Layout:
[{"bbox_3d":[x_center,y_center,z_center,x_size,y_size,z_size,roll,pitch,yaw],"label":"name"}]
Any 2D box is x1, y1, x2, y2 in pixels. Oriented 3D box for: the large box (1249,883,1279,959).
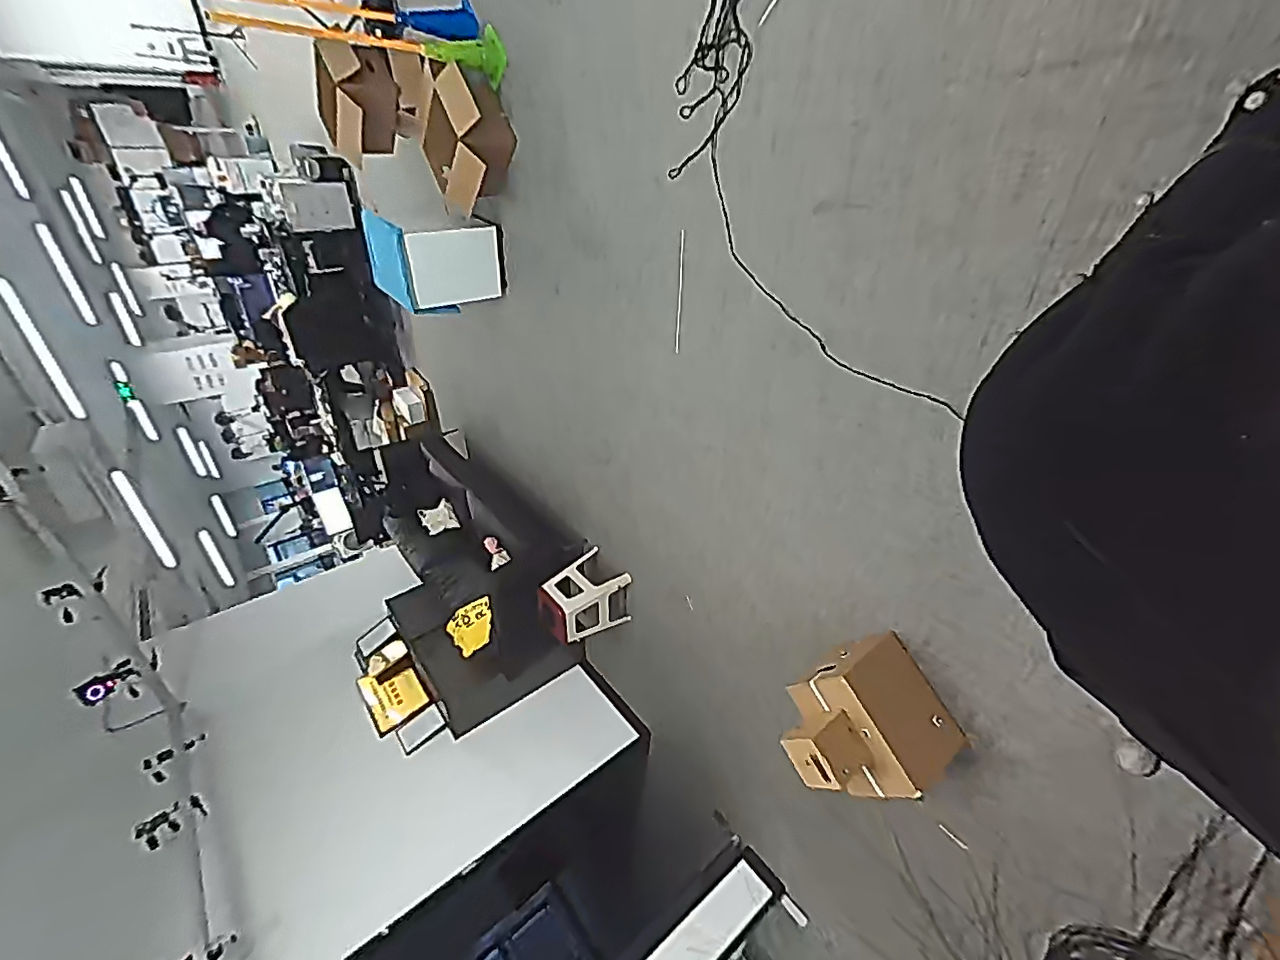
[{"bbox_3d":[1.495,1.118,1.050,0.408,0.320,0.320,19,125,49],"label":"large box"}]
